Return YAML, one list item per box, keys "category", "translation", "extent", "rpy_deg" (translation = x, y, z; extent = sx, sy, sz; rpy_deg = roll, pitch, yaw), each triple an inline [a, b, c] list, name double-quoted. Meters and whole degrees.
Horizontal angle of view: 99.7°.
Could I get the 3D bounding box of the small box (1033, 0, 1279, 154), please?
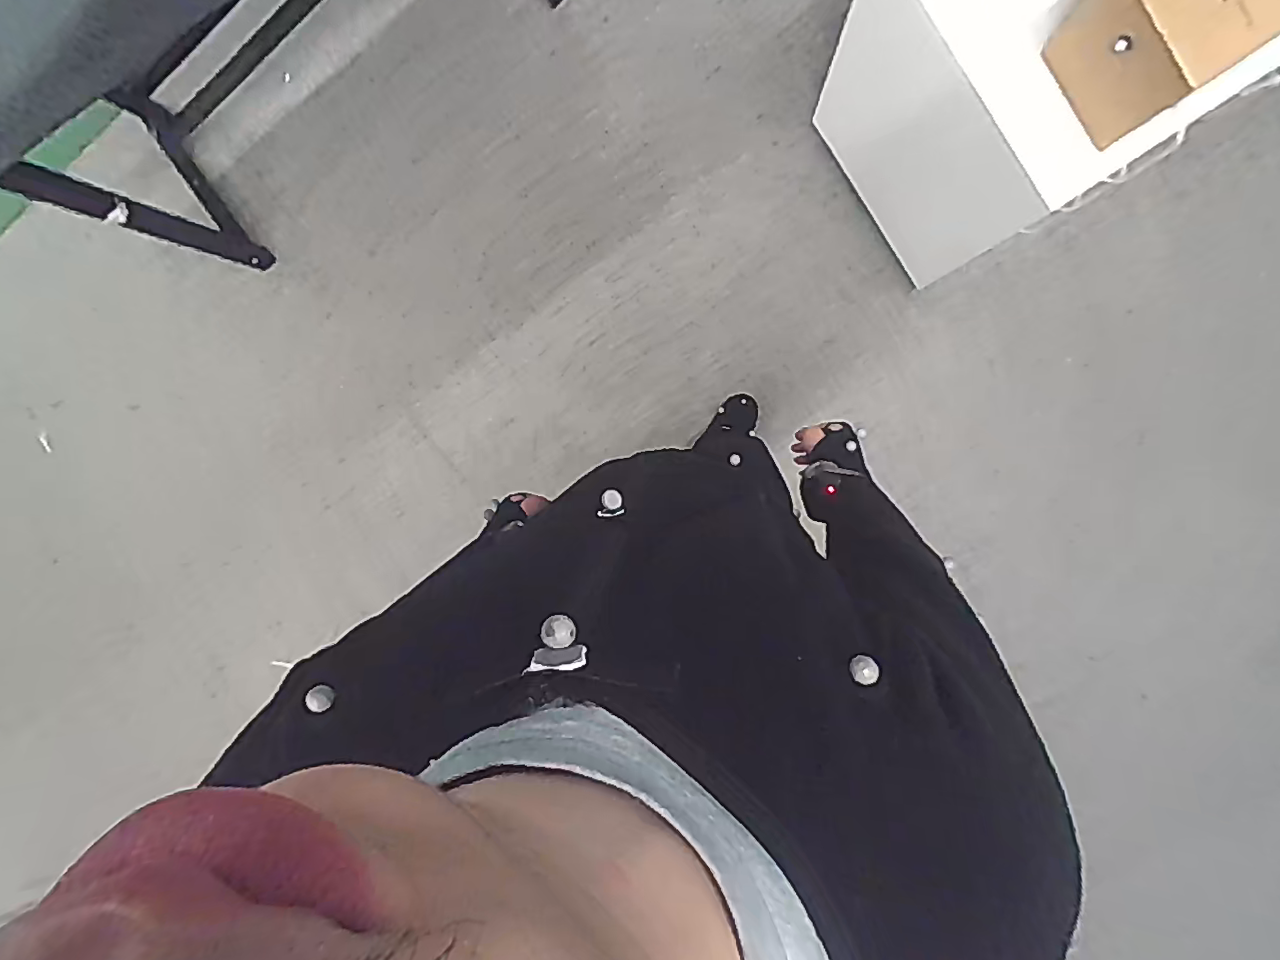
- category: "small box"
  translation: [0.694, -0.597, 0.735]
  extent: [0.168, 0.176, 0.179]
  rpy_deg: [-33, 92, 8]
